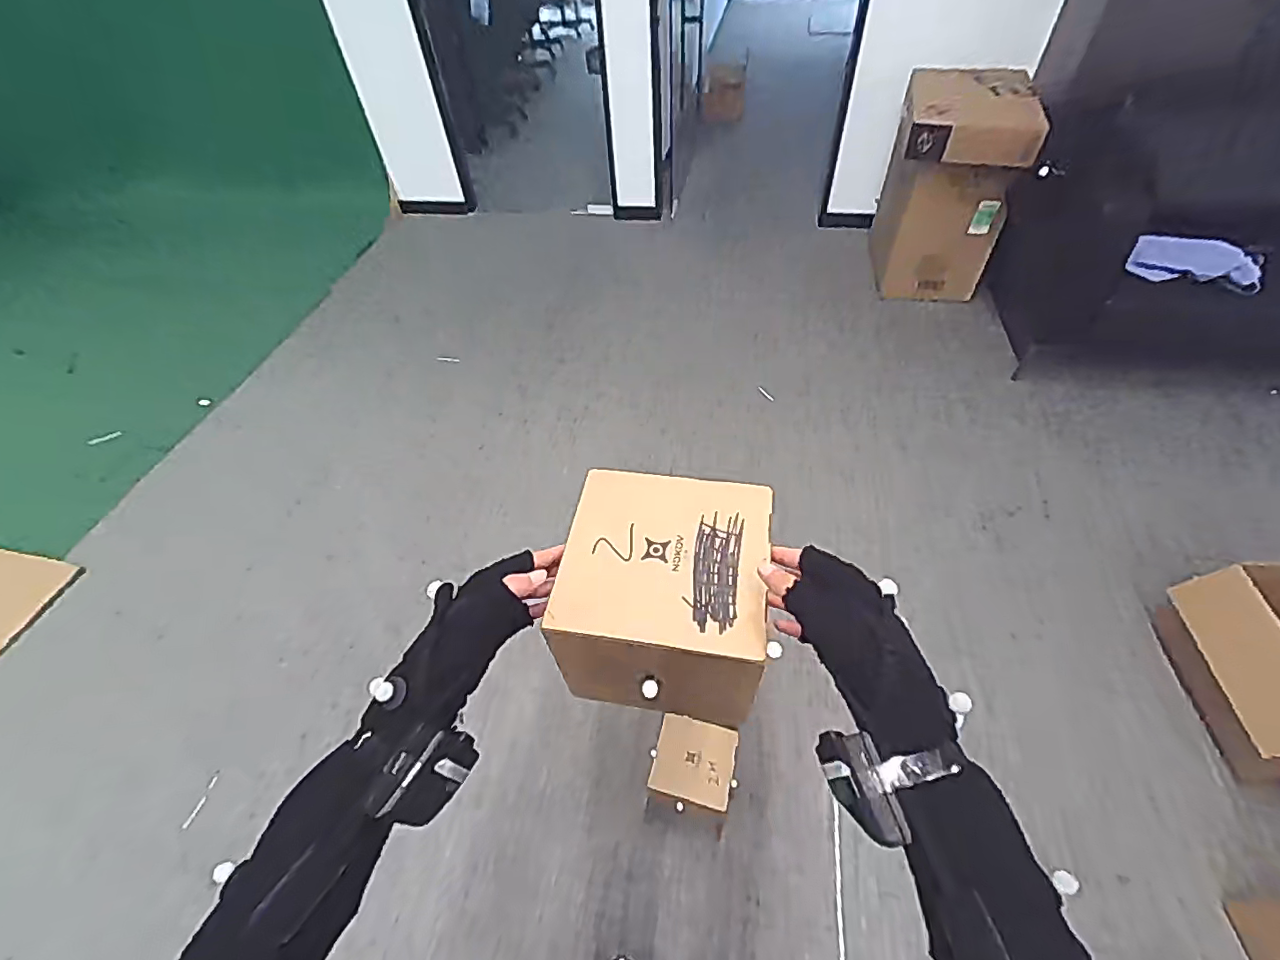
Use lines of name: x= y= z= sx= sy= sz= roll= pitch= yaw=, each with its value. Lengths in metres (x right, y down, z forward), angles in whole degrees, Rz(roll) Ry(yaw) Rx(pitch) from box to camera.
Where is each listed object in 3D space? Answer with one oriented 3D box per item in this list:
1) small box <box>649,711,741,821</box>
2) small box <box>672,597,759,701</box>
small box: x=0.128 y=0.664 z=1.251 sx=0.179 sy=0.176 sz=0.168 roll=11 pitch=51 yaw=13
small box: x=0.175 y=0.399 z=1.261 sx=0.179 sy=0.176 sz=0.168 roll=7 pitch=50 yaw=11
